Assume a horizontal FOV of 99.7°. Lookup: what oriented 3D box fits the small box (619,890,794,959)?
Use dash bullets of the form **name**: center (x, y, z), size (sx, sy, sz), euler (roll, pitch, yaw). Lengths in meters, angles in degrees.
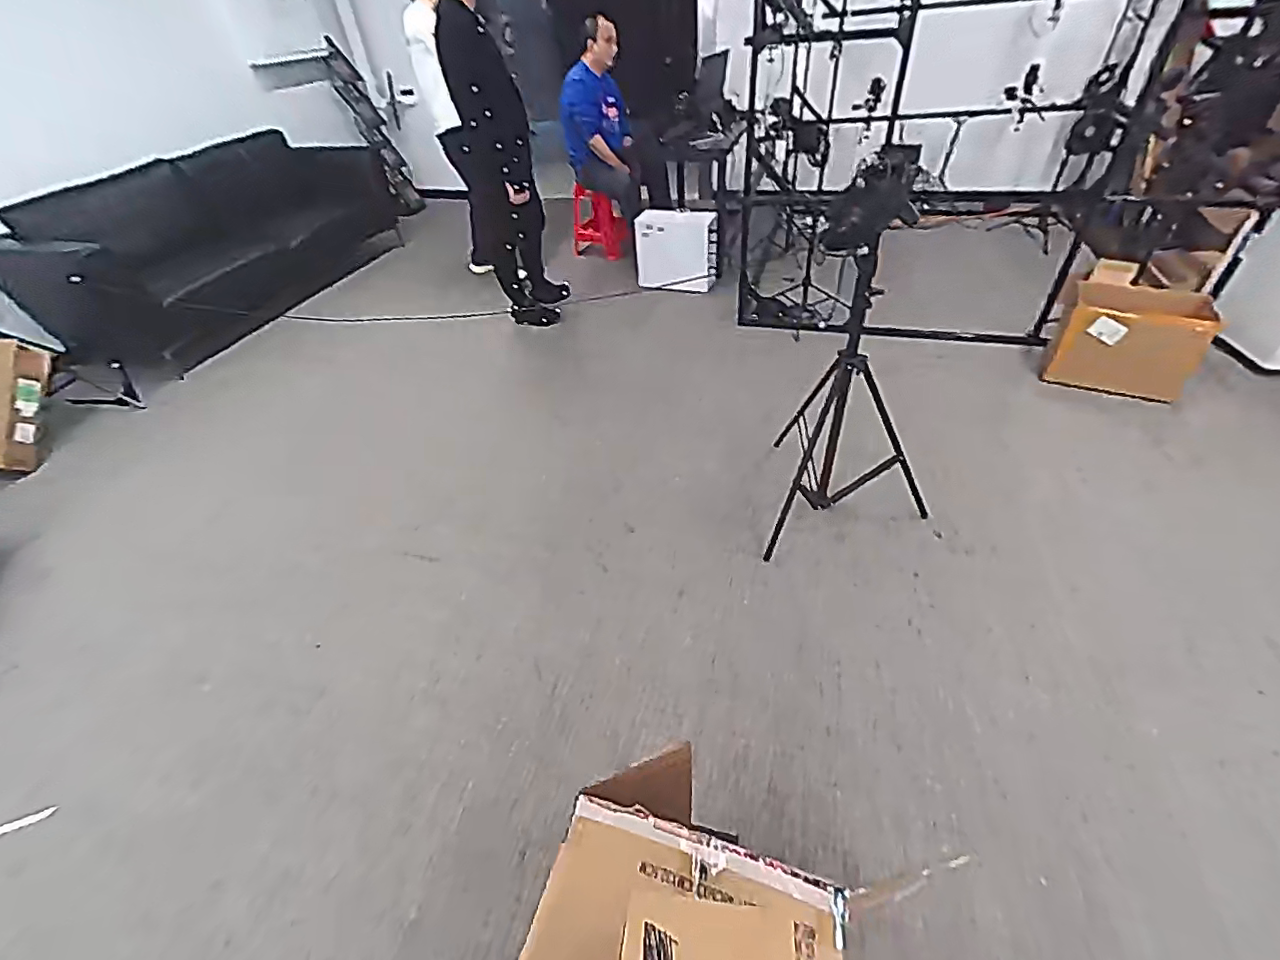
- **small box**: center (0.070, 0.560, 0.555), size (0.179, 0.176, 0.168), euler (-1, 35, 11)
